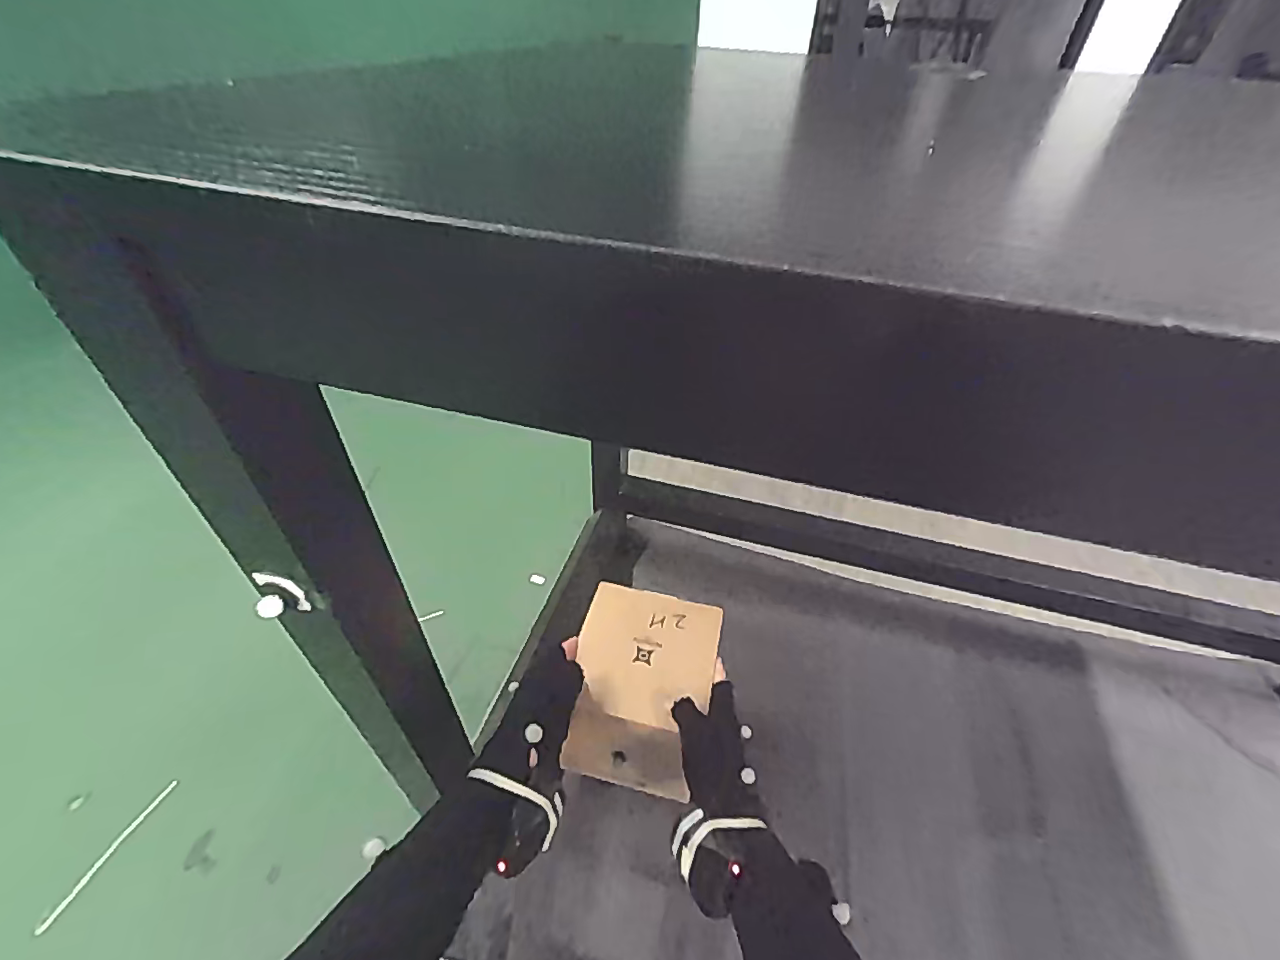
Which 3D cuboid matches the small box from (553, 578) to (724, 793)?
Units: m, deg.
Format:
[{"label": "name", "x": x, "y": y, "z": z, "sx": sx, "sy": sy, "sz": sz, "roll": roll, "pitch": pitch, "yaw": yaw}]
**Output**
[{"label": "small box", "x": 0.003, "y": 0.257, "z": 0.677, "sx": 0.168, "sy": 0.176, "sz": 0.179, "roll": 12, "pitch": 40, "yaw": 9}]
